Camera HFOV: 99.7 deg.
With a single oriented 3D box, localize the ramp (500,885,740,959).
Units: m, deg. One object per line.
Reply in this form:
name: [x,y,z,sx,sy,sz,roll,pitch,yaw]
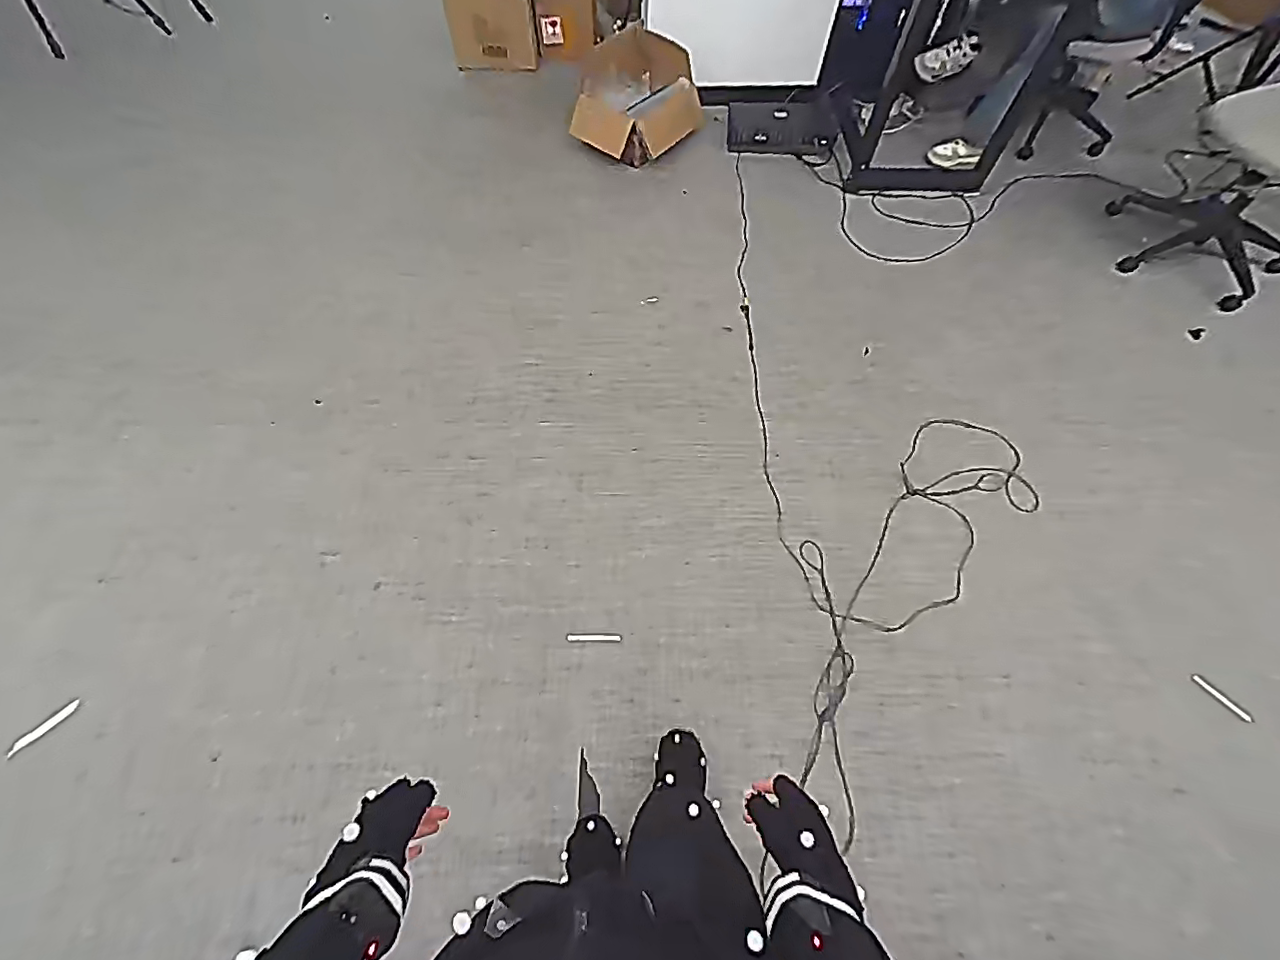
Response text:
ramp: [-0.034,1.273,0.860,0.509,0.206,0.991,-2,62,-1]
